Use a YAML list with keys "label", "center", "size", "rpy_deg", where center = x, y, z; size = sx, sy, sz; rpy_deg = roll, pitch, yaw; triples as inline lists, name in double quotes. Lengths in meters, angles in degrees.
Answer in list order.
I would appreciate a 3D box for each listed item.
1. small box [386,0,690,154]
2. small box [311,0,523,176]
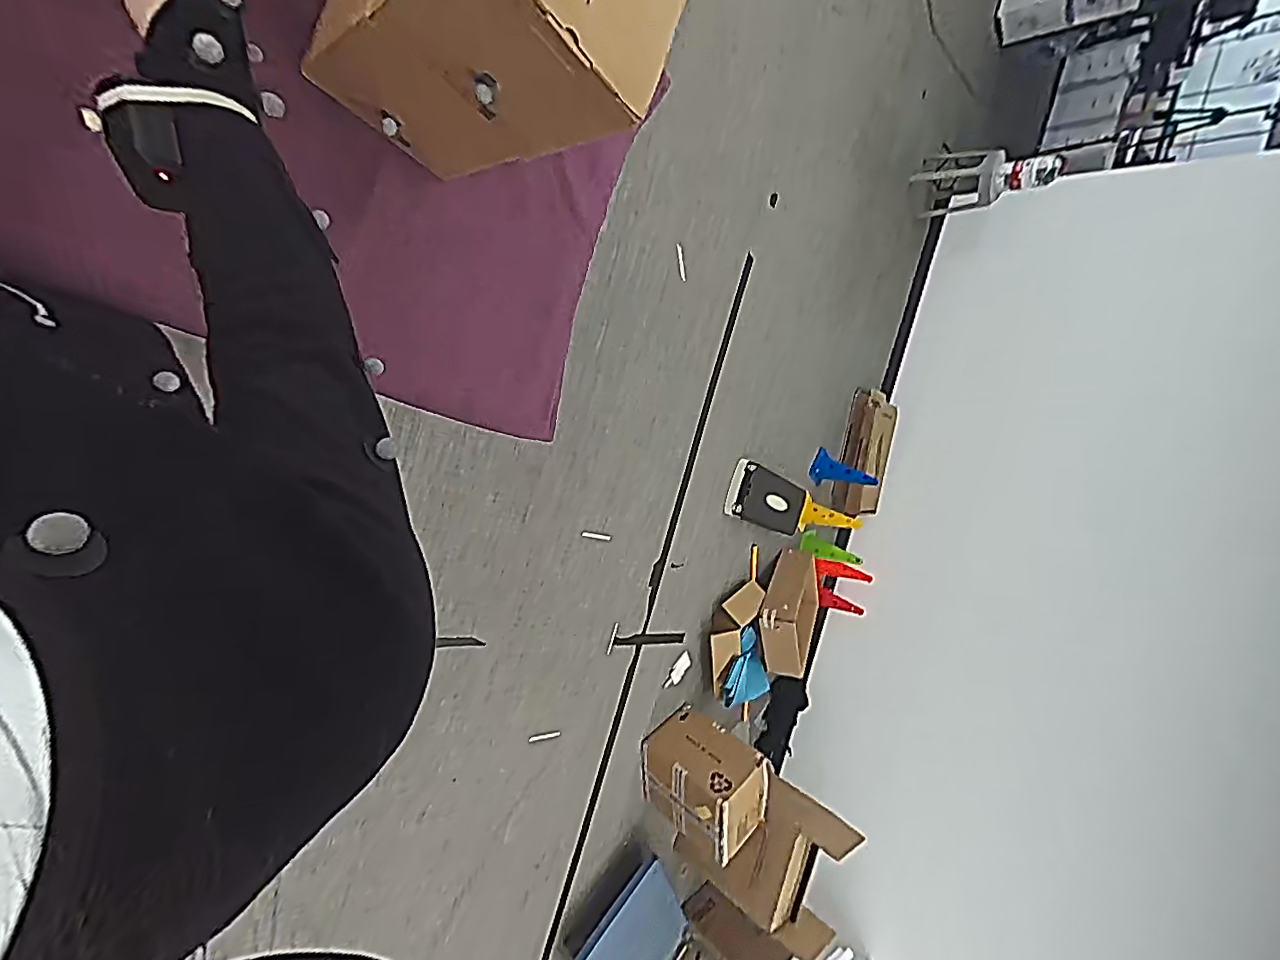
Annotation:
- label: "small box"
  center: [-0.078, -0.410, 0.444]
  size: [0.168, 0.176, 0.179]
  rpy_deg: [22, 86, -49]
- label: "small box"
  center: [-0.200, -0.447, 0.548]
  size: [0.168, 0.176, 0.179]
  rpy_deg: [23, 86, -49]
